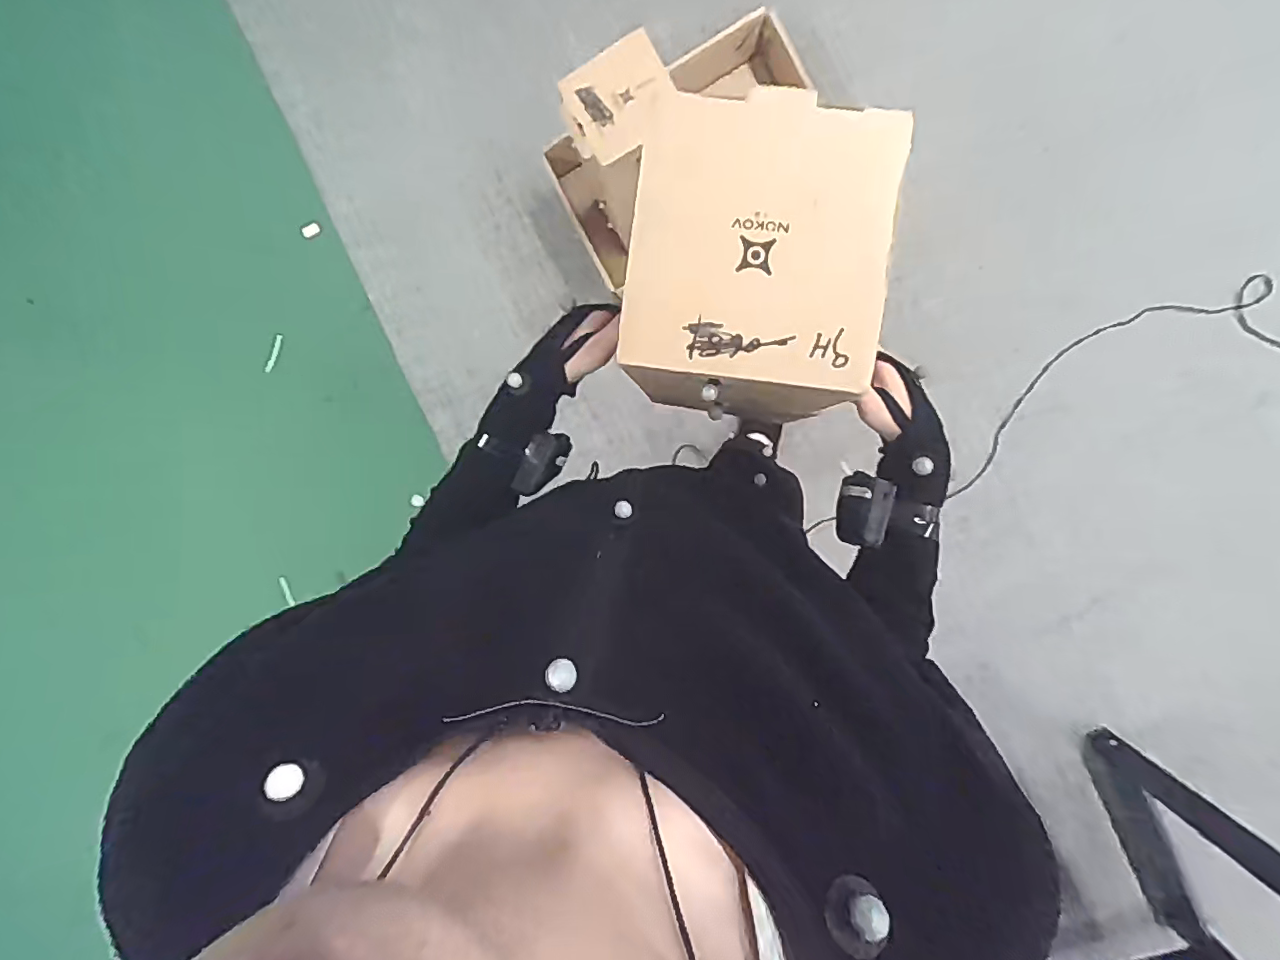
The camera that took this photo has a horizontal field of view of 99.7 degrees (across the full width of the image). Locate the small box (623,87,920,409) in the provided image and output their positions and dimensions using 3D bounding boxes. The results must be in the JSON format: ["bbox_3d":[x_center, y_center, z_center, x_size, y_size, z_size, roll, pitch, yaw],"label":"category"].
[{"bbox_3d":[0.089,-0.159,0.424,0.168,0.176,0.179,9,94,7],"label":"small box"}]

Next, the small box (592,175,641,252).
[{"bbox_3d":[0.006,-0.690,1.330,0.168,0.176,0.179,-30,90,7],"label":"small box"}]

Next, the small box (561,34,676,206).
[{"bbox_3d":[-0.017,-0.652,1.006,0.179,0.176,0.168,-29,92,7],"label":"small box"}]

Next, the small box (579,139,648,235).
[{"bbox_3d":[-0.005,-0.667,1.169,0.179,0.176,0.168,-29,92,7],"label":"small box"}]
